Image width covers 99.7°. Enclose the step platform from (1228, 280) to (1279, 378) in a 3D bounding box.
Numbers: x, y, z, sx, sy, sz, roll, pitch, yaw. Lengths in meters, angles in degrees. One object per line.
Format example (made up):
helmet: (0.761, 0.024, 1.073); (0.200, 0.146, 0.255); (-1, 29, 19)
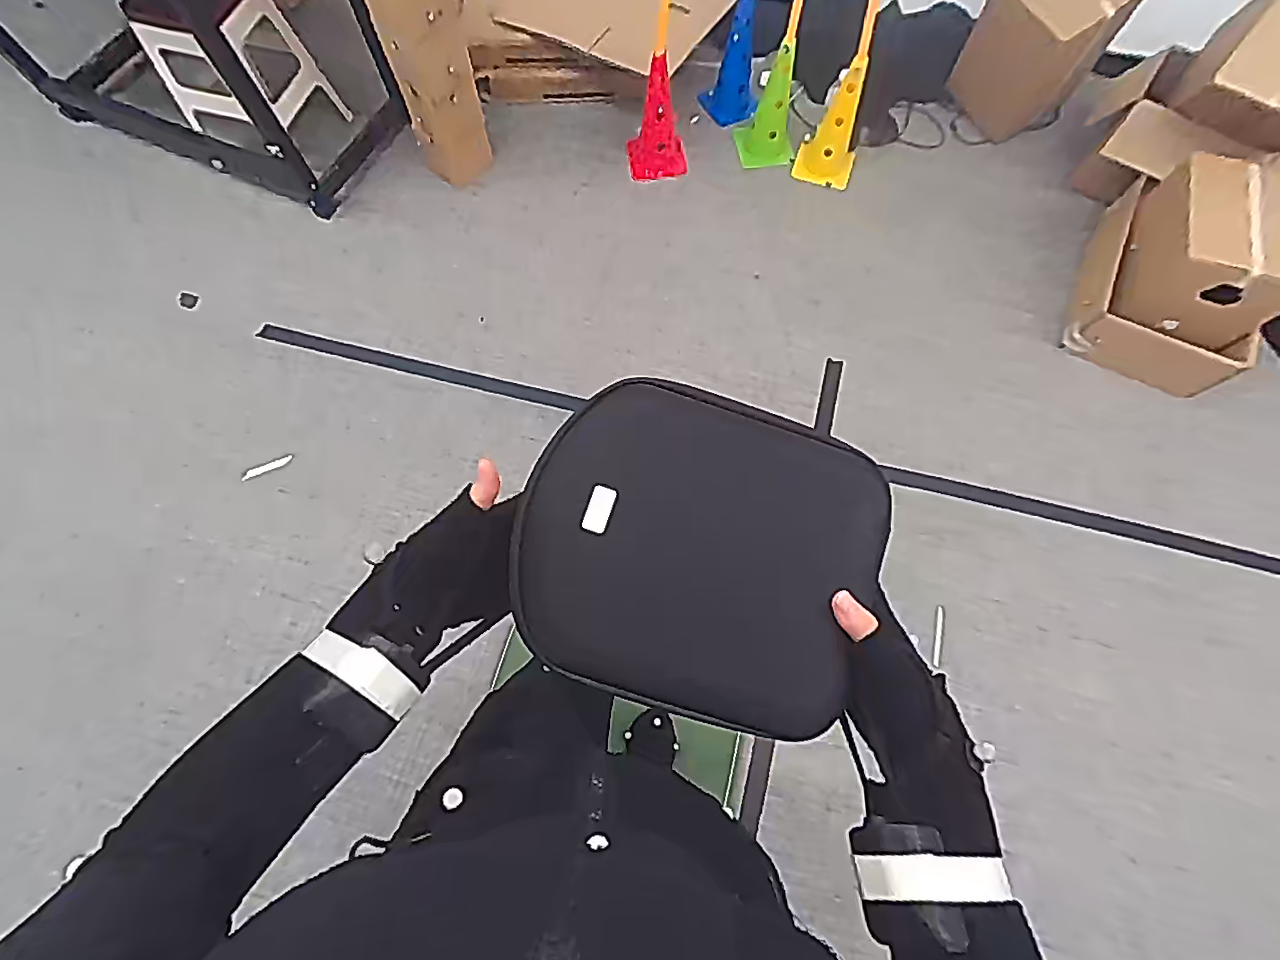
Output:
step platform: (2.268, -0.533, 1.672); (0.684, 0.204, 0.286); (-13, 70, -5)
